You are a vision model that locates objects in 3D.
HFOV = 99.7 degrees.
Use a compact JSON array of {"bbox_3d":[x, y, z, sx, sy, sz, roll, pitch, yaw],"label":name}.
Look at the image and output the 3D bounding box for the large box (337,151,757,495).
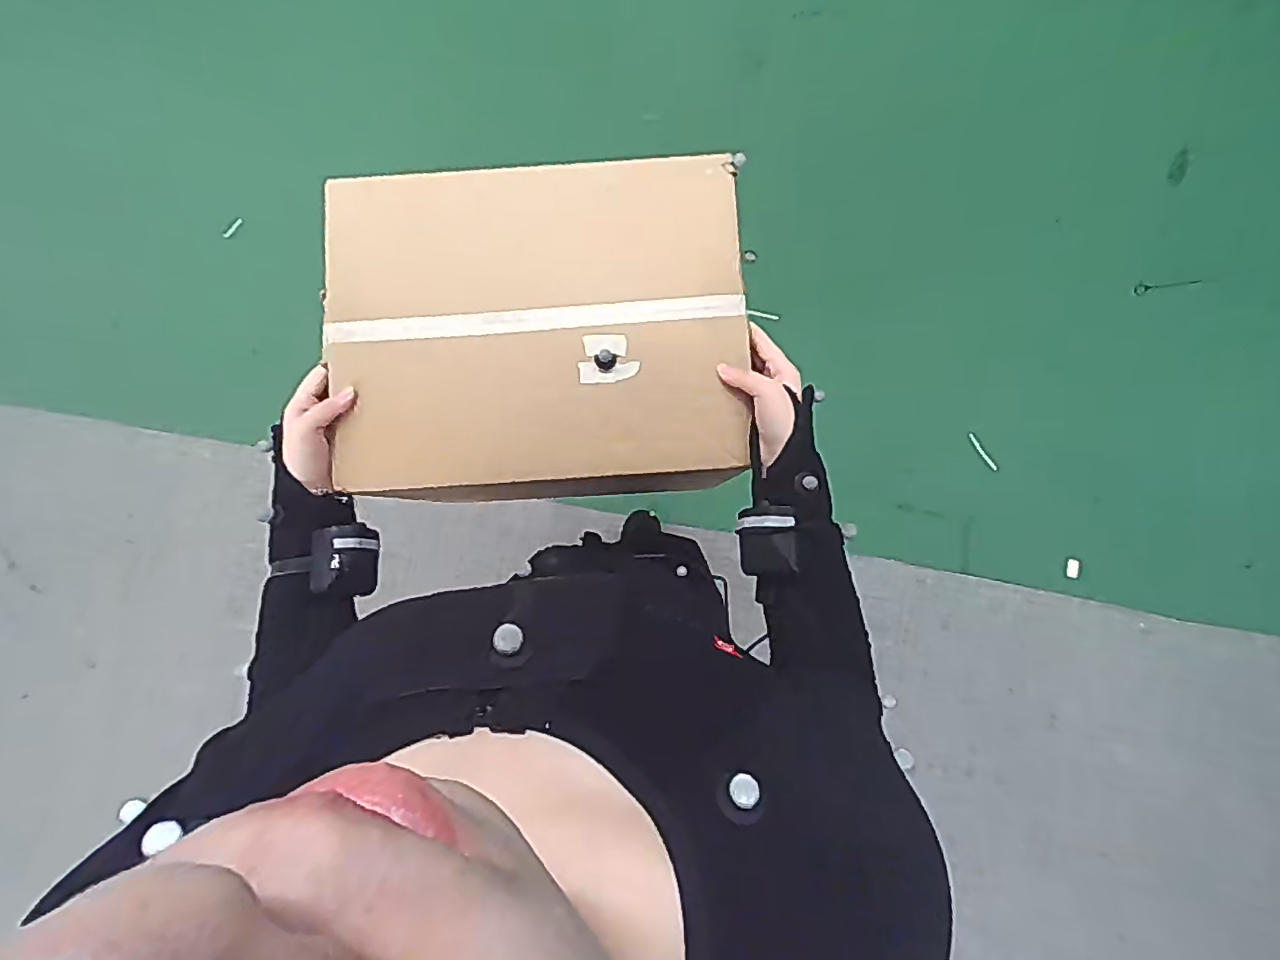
[{"bbox_3d":[-0.097,-0.155,0.678,0.408,0.320,0.320,-3,87,-1],"label":"large box"}]
